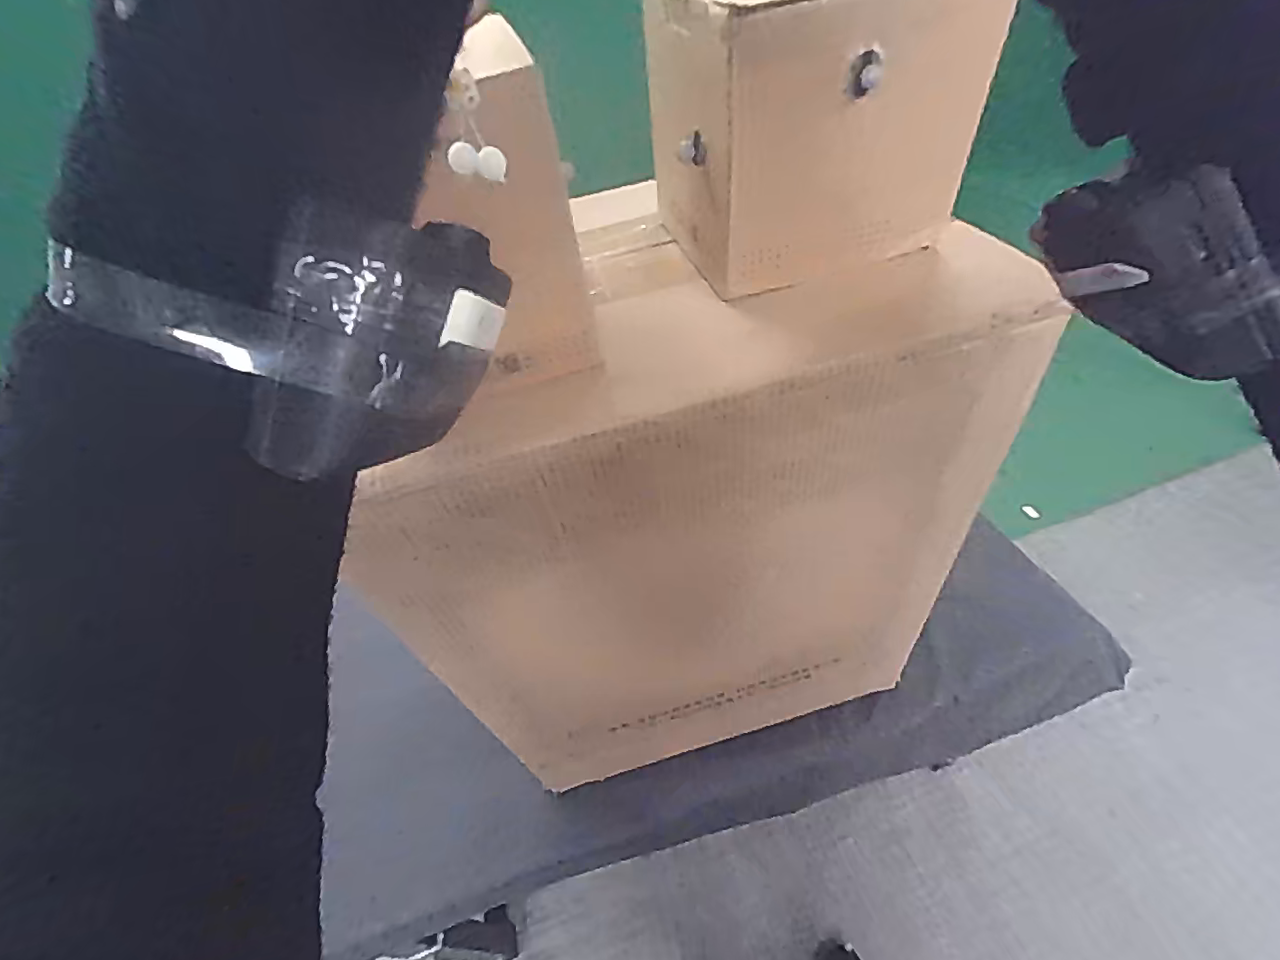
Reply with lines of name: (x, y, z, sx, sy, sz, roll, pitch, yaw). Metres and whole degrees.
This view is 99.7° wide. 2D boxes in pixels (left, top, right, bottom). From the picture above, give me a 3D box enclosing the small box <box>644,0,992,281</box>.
small box: (0.112, -0.269, 0.400, 0.179, 0.176, 0.168, -15, 50, -7)
